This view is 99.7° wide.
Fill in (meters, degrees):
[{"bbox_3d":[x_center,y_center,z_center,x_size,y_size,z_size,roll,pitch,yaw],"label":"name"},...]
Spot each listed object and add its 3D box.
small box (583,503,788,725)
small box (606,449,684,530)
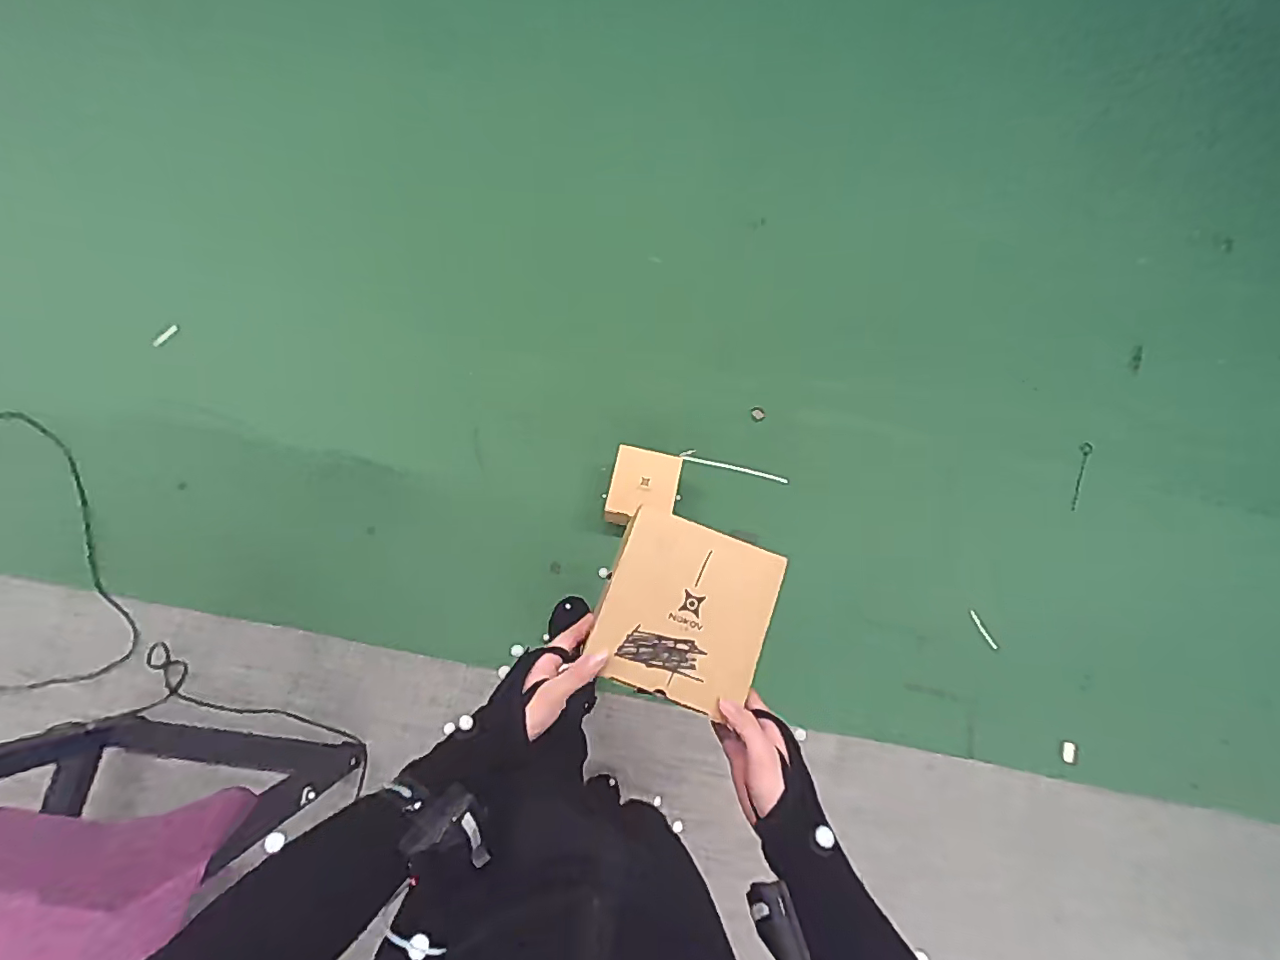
[{"bbox_3d":[0.043,0.147,0.617,0.168,0.176,0.179,21,76,-2],"label":"small box"},{"bbox_3d":[0.007,0.038,1.417,0.168,0.176,0.179,12,77,-2],"label":"small box"}]
